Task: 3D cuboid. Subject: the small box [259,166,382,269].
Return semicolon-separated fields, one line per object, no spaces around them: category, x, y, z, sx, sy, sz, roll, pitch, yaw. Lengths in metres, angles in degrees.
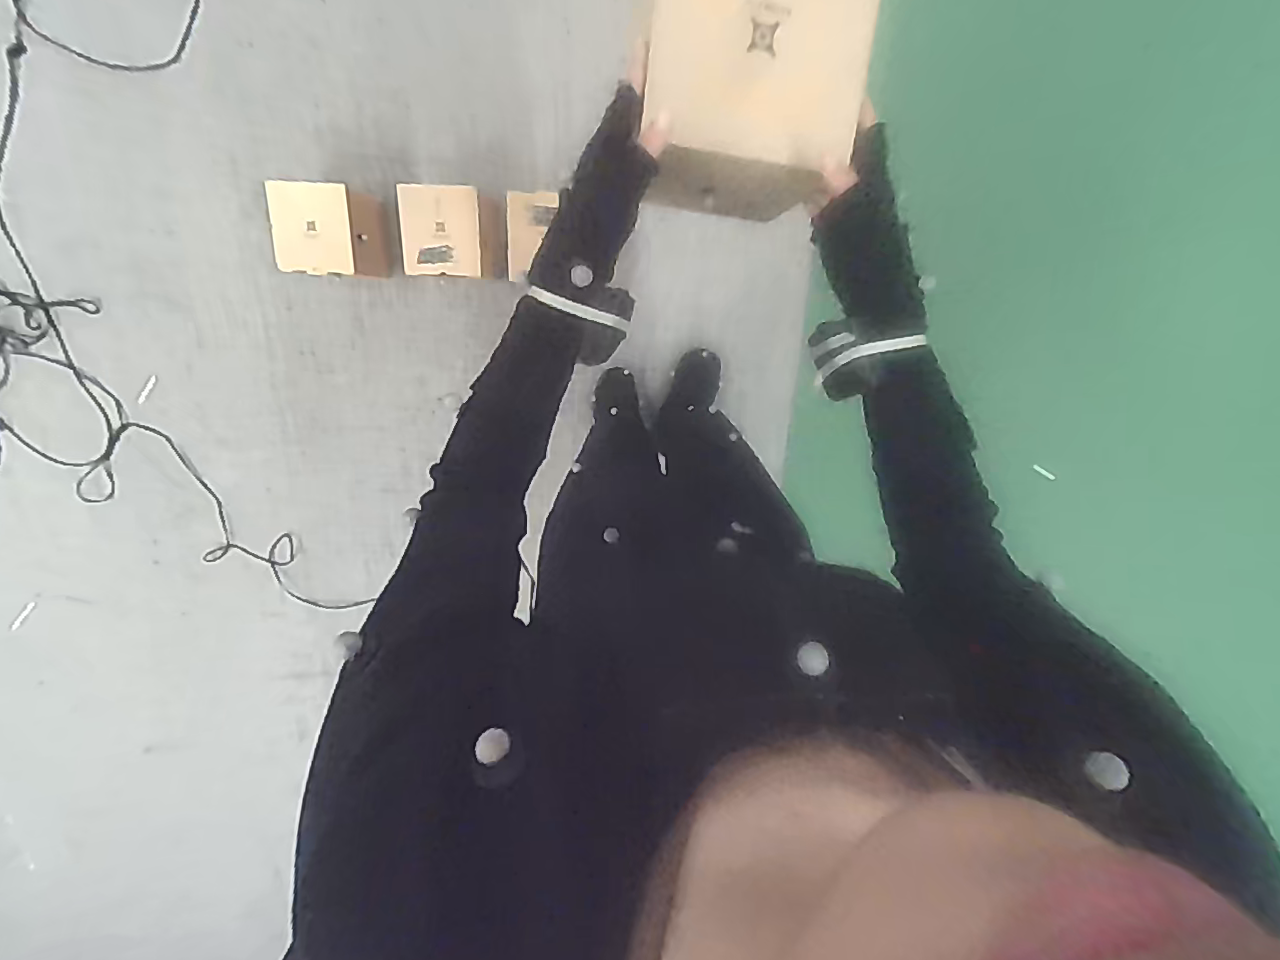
small box;-0.690;-0.568;1.188;0.168;0.176;0.179;3;108;0

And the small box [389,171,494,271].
small box;-0.424;-0.558;1.186;0.168;0.176;0.179;3;107;0
